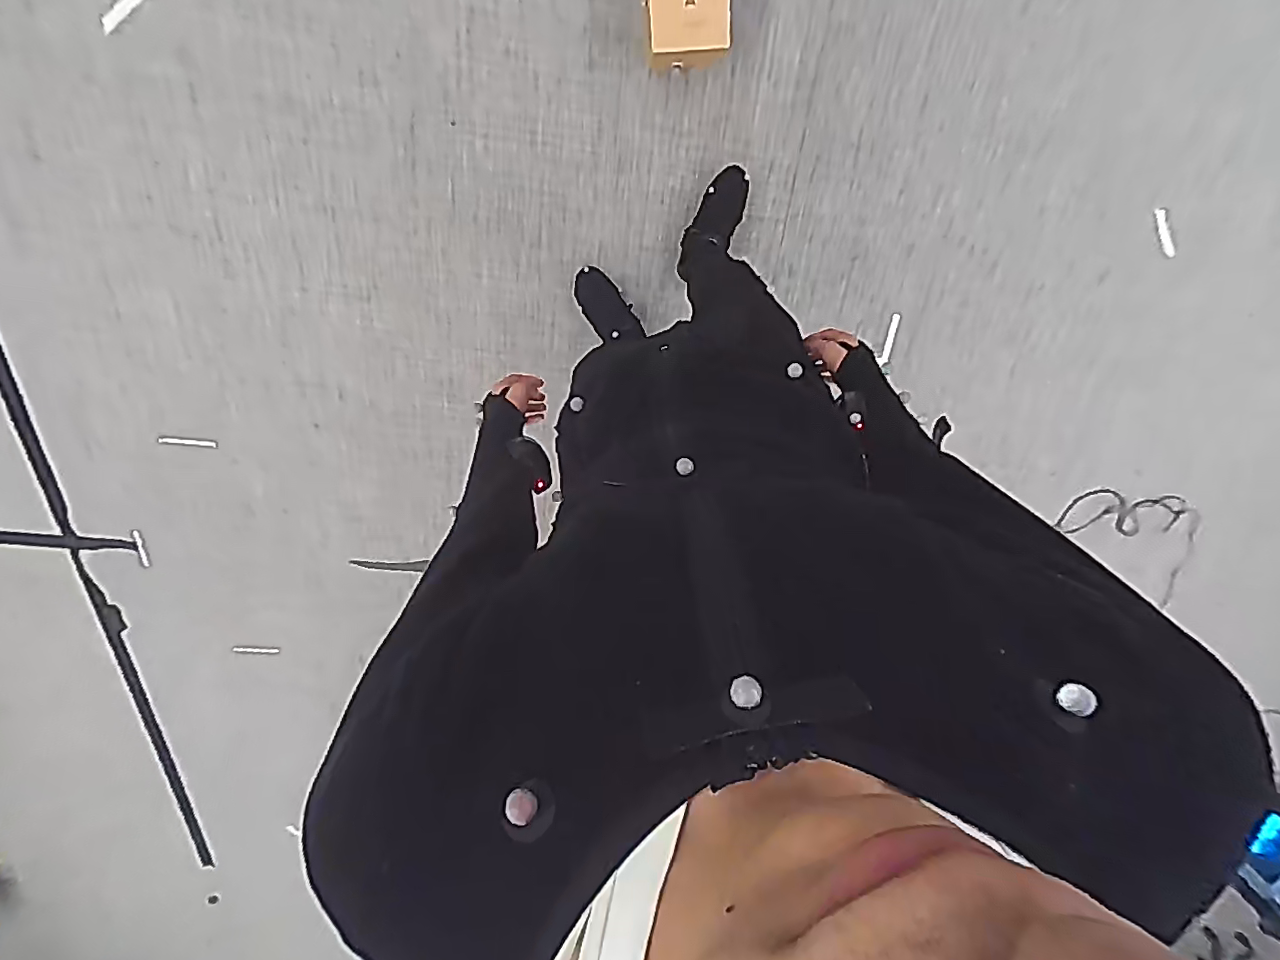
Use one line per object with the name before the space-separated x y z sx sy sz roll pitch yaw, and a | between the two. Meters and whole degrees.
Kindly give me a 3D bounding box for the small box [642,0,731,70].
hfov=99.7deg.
small box | 0.094 -0.998 1.143 0.168 0.176 0.179 -5 117 -1
